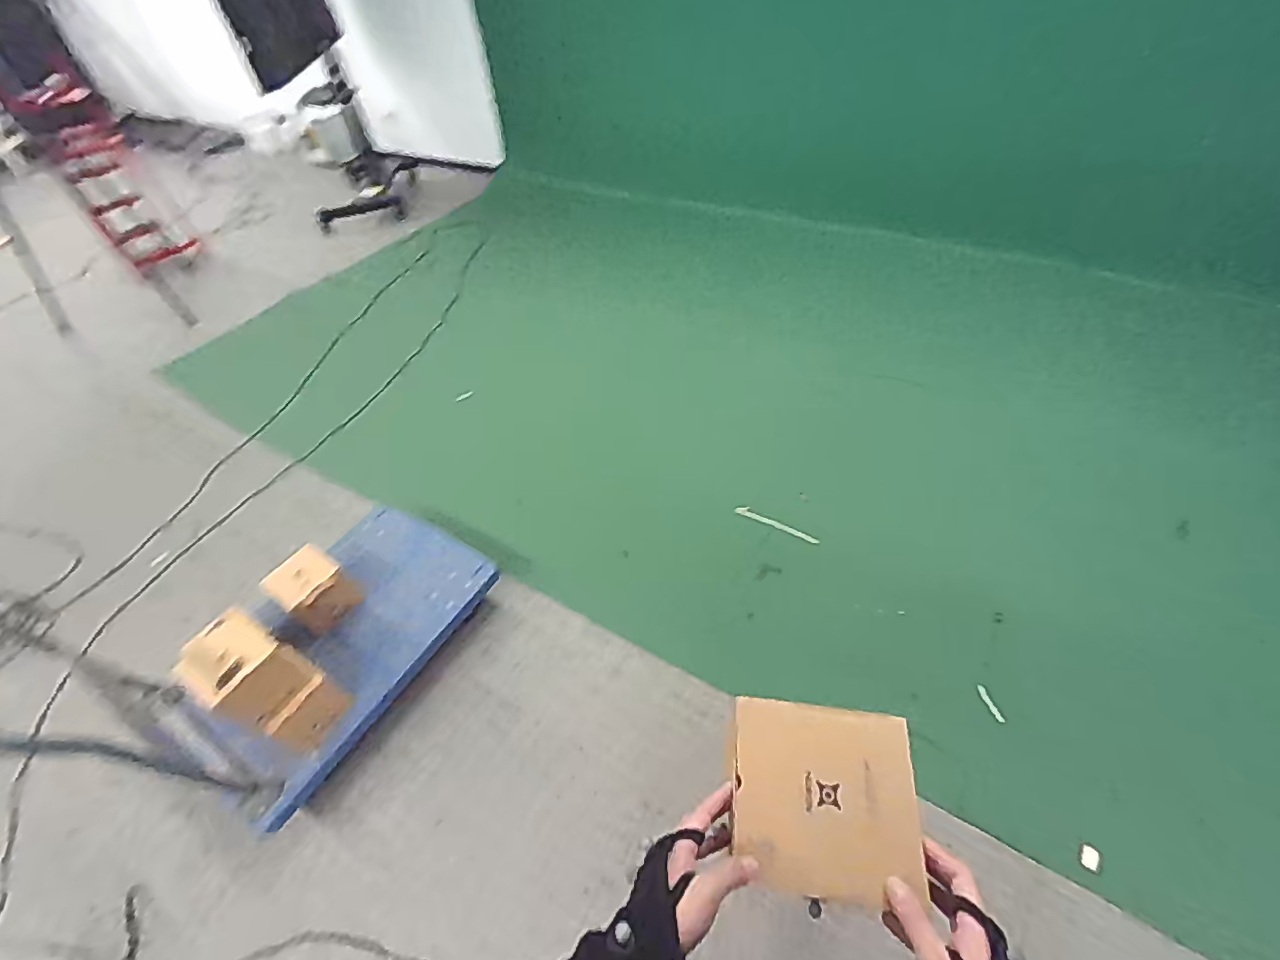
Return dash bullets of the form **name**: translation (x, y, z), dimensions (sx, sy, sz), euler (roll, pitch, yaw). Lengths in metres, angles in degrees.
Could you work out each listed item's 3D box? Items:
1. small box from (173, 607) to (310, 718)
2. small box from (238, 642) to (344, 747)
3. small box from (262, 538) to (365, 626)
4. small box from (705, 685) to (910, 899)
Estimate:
- **small box**: translation (-0.943, 0.443, 1.297), dimensions (0.179, 0.176, 0.168), euler (23, 53, 24)
- **small box**: translation (-0.912, 0.565, 1.416), dimensions (0.179, 0.176, 0.168), euler (-24, 52, -15)
- **small box**: translation (-0.982, 0.313, 1.637), dimensions (0.179, 0.176, 0.168), euler (26, 56, 25)
- **small box**: translation (0.166, 0.340, 0.590), dimensions (0.179, 0.176, 0.168), euler (5, 55, 6)
